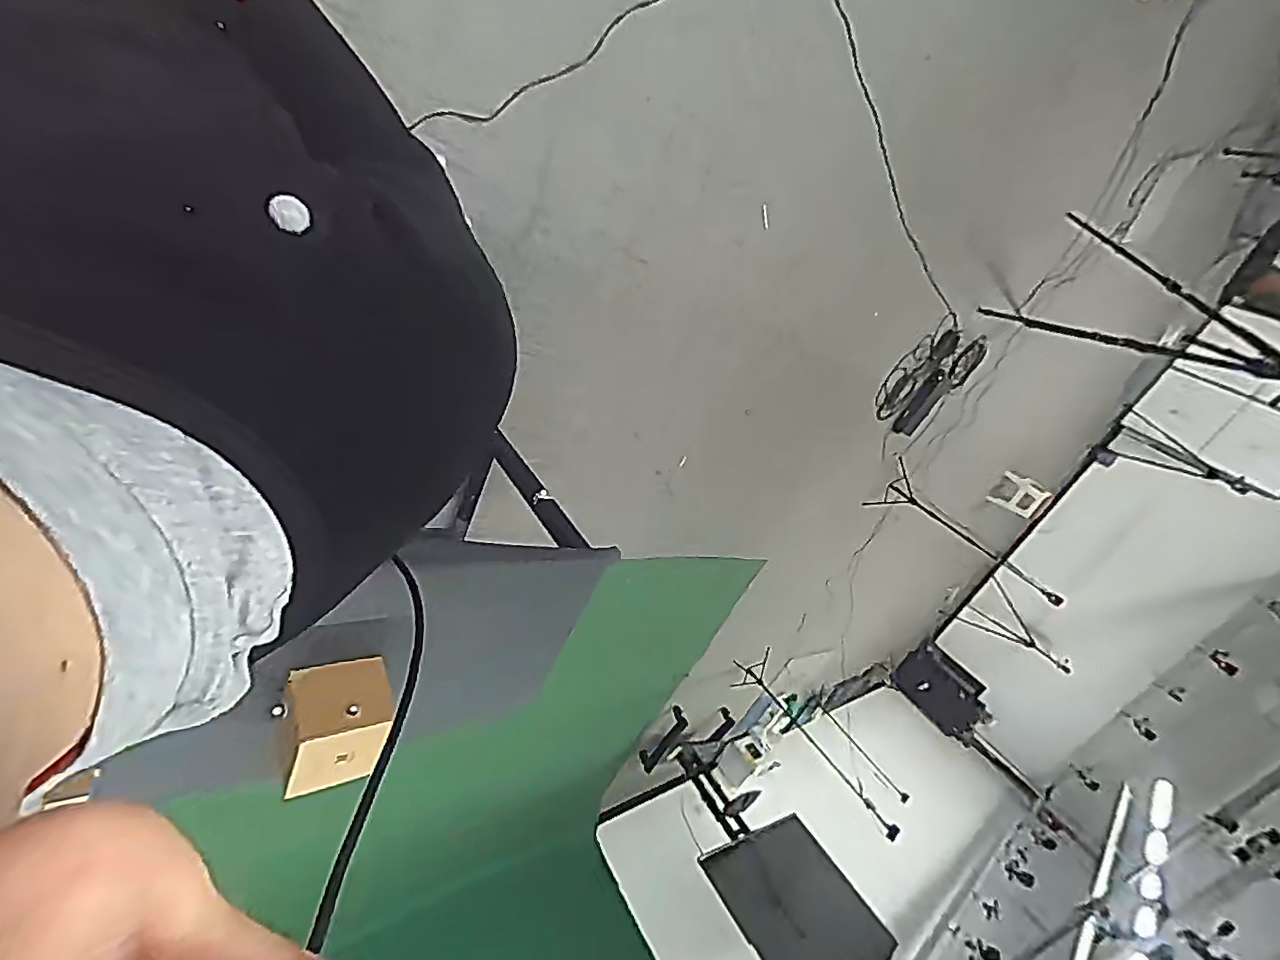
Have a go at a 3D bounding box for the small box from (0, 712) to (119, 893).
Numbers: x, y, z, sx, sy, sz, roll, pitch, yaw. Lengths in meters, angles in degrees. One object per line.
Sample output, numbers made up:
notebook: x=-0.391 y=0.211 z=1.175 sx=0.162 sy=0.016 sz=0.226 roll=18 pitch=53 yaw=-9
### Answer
small box: x=-0.898 y=0.469 z=0.792 sx=0.179 sy=0.176 sz=0.168 roll=11 pitch=116 yaw=-47

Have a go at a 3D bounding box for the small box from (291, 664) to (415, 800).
small box: x=-0.587 y=0.498 z=1.098 sx=0.179 sy=0.176 sz=0.168 roll=4 pitch=120 yaw=-42
